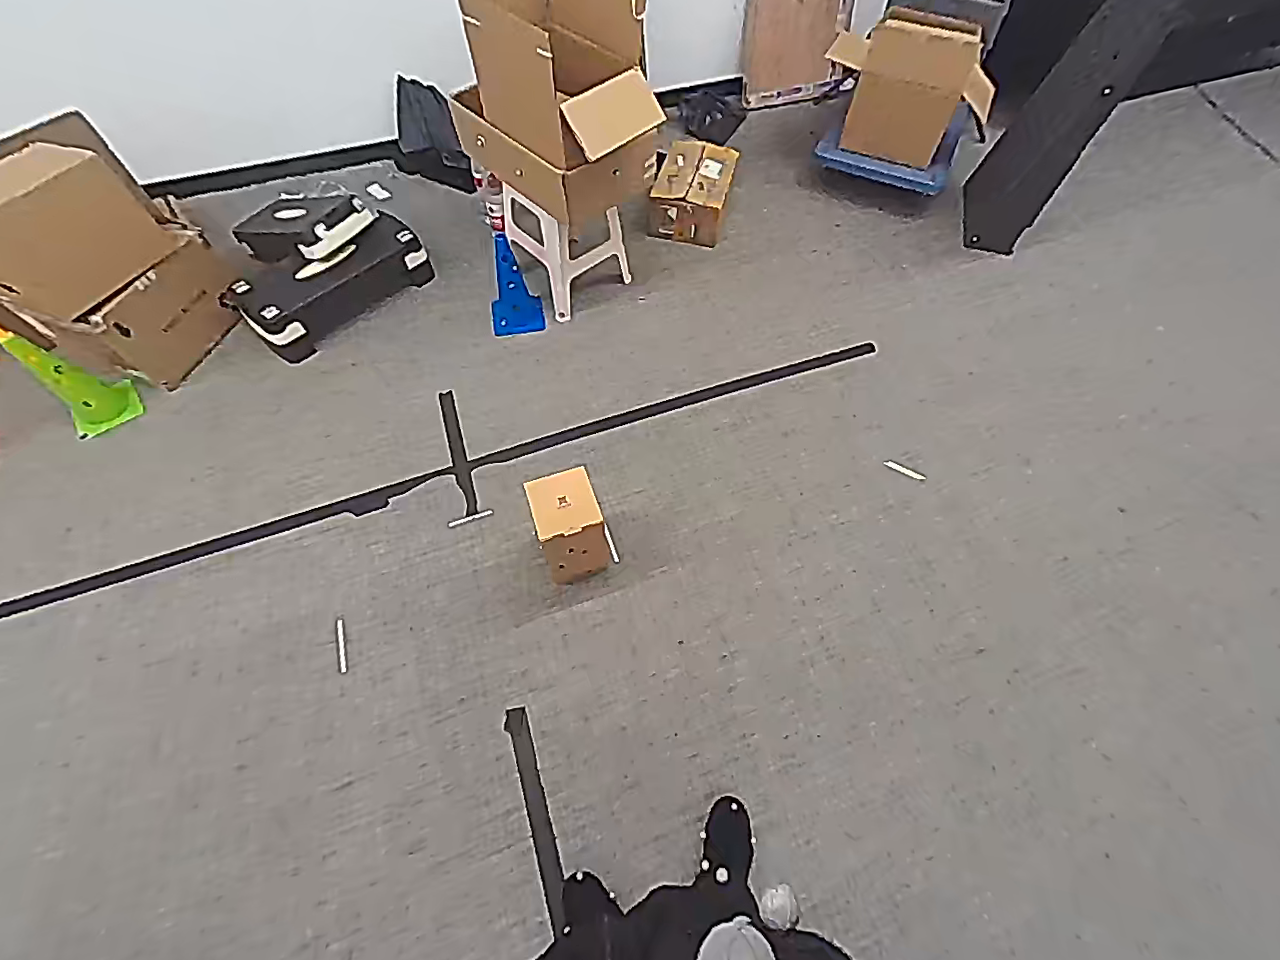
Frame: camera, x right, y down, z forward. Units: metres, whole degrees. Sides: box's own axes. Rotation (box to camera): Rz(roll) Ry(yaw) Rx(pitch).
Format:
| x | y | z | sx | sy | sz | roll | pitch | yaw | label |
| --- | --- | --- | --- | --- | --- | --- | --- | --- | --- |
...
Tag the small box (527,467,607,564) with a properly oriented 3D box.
| x | y | z | sx | sy | sz | roll | pitch | yaw | label |
| --- | --- | --- | --- | --- | --- | --- | --- | --- | --- |
| -0.191 | 0.097 | 1.435 | 0.168 | 0.176 | 0.179 | -17 | 61 | -11 | small box |
